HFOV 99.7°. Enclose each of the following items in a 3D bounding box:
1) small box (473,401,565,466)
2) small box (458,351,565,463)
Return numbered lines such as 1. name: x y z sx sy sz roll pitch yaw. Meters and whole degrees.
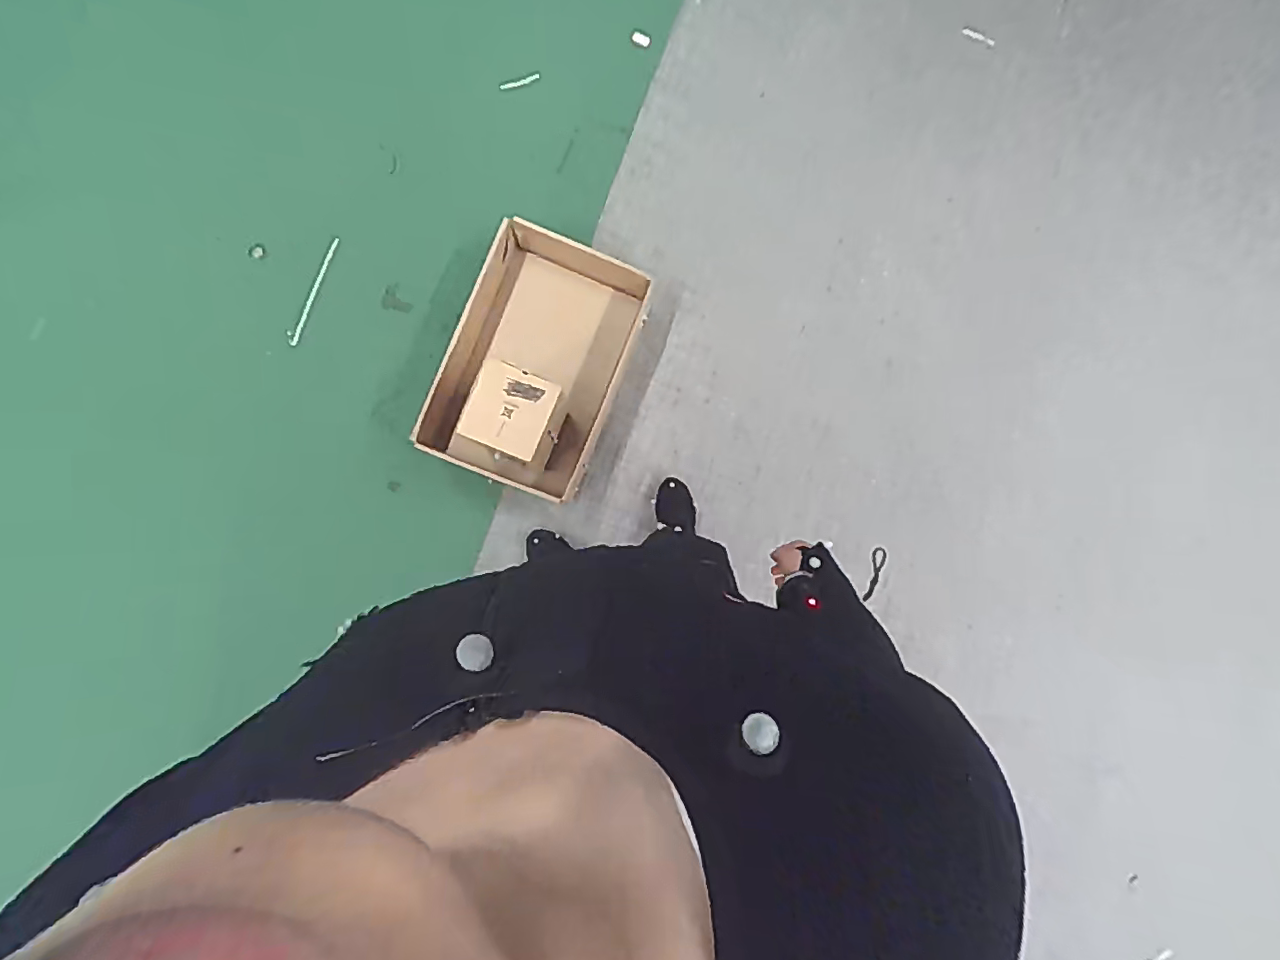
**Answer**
1. small box: -0.290 -0.143 1.338 0.168 0.176 0.179 21 85 -5
2. small box: -0.270 -0.149 1.175 0.168 0.176 0.179 22 86 -4
